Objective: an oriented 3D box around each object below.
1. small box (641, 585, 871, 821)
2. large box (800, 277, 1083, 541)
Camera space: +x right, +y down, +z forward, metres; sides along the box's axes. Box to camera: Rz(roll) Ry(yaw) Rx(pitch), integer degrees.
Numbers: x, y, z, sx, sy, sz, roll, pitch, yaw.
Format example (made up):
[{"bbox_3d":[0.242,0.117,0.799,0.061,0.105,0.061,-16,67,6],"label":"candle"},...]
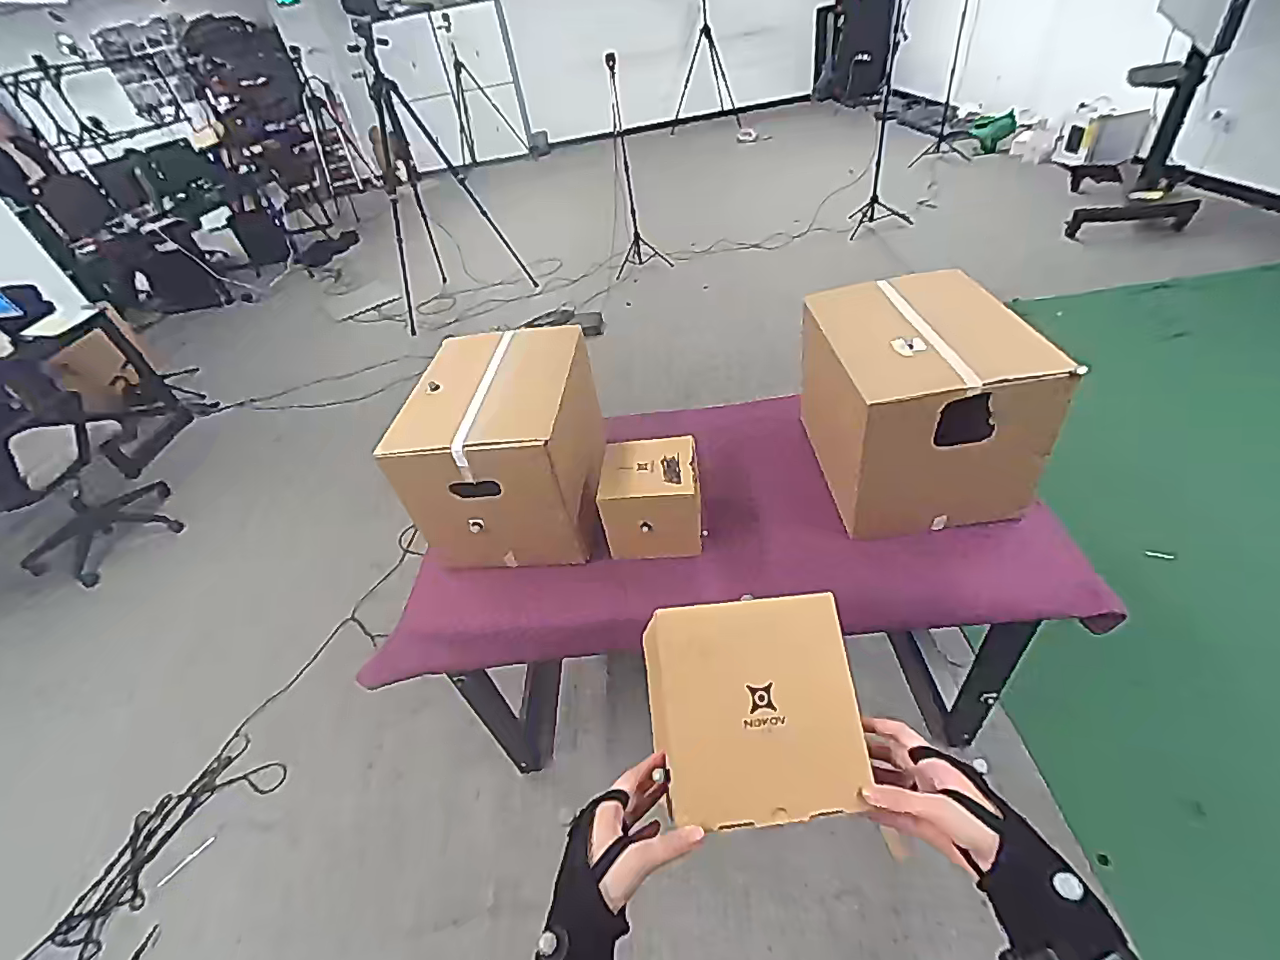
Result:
[{"bbox_3d":[0.093,0.210,0.532,0.168,0.176,0.179,-4,69,-5],"label":"small box"},{"bbox_3d":[0.515,-0.145,1.045,0.320,0.320,0.408,-9,41,6],"label":"large box"}]
